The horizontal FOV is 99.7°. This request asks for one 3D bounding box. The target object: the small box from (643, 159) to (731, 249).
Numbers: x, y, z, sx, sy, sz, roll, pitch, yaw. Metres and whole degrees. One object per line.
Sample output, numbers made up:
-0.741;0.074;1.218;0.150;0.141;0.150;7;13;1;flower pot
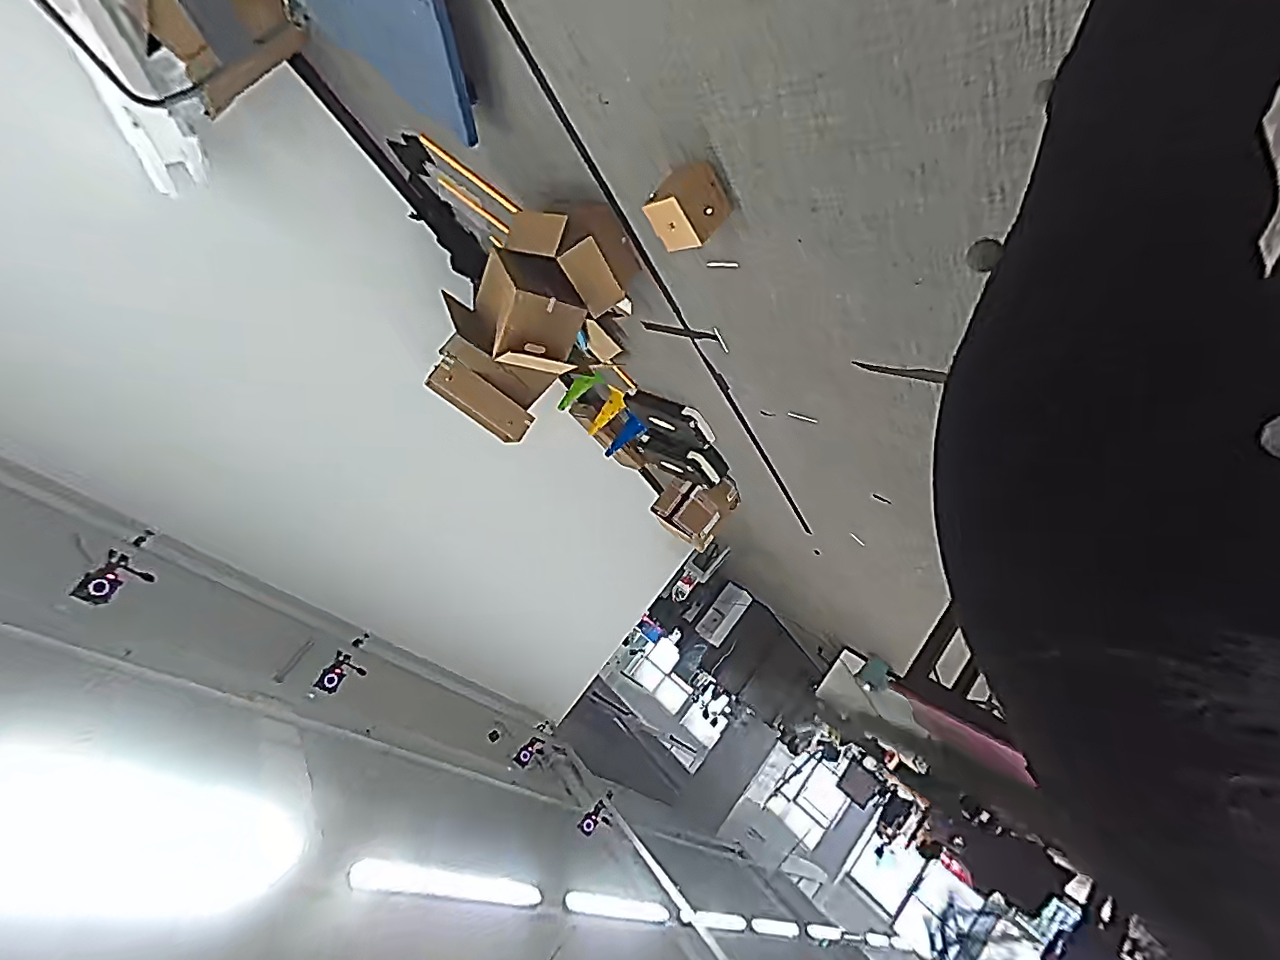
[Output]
0.150;-0.829;1.630;0.168;0.176;0.179;47;168;-33;small box
